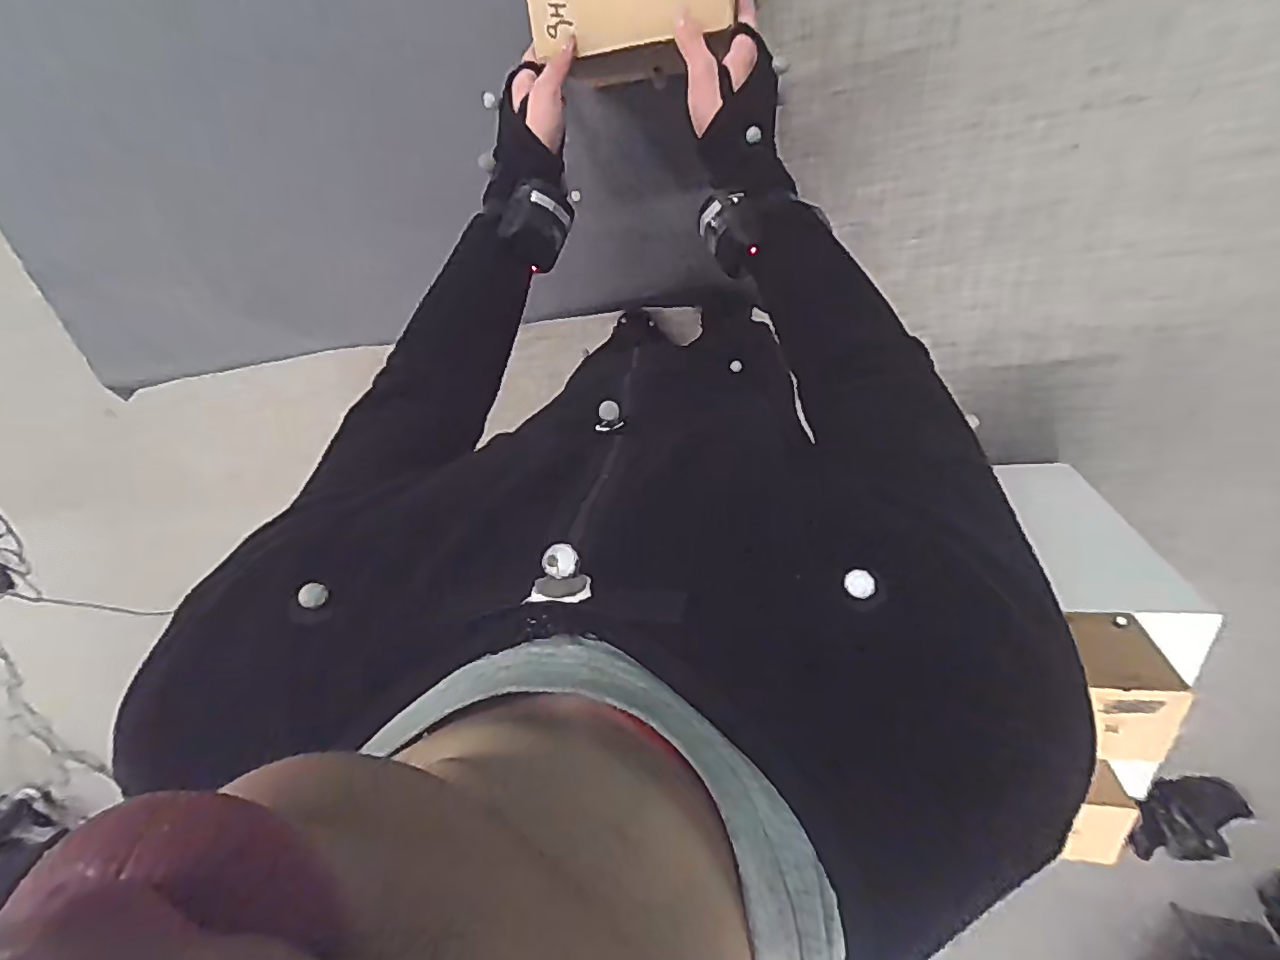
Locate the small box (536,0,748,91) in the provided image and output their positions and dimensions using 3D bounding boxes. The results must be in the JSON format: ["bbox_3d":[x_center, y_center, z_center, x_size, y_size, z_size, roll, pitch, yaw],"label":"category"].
[{"bbox_3d":[0.008,-0.471,0.489,0.179,0.176,0.168,0,119,13],"label":"small box"}]

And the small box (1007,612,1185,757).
[{"bbox_3d":[0.770,0.347,0.939,0.168,0.176,0.179,-2,121,14],"label":"small box"}]
